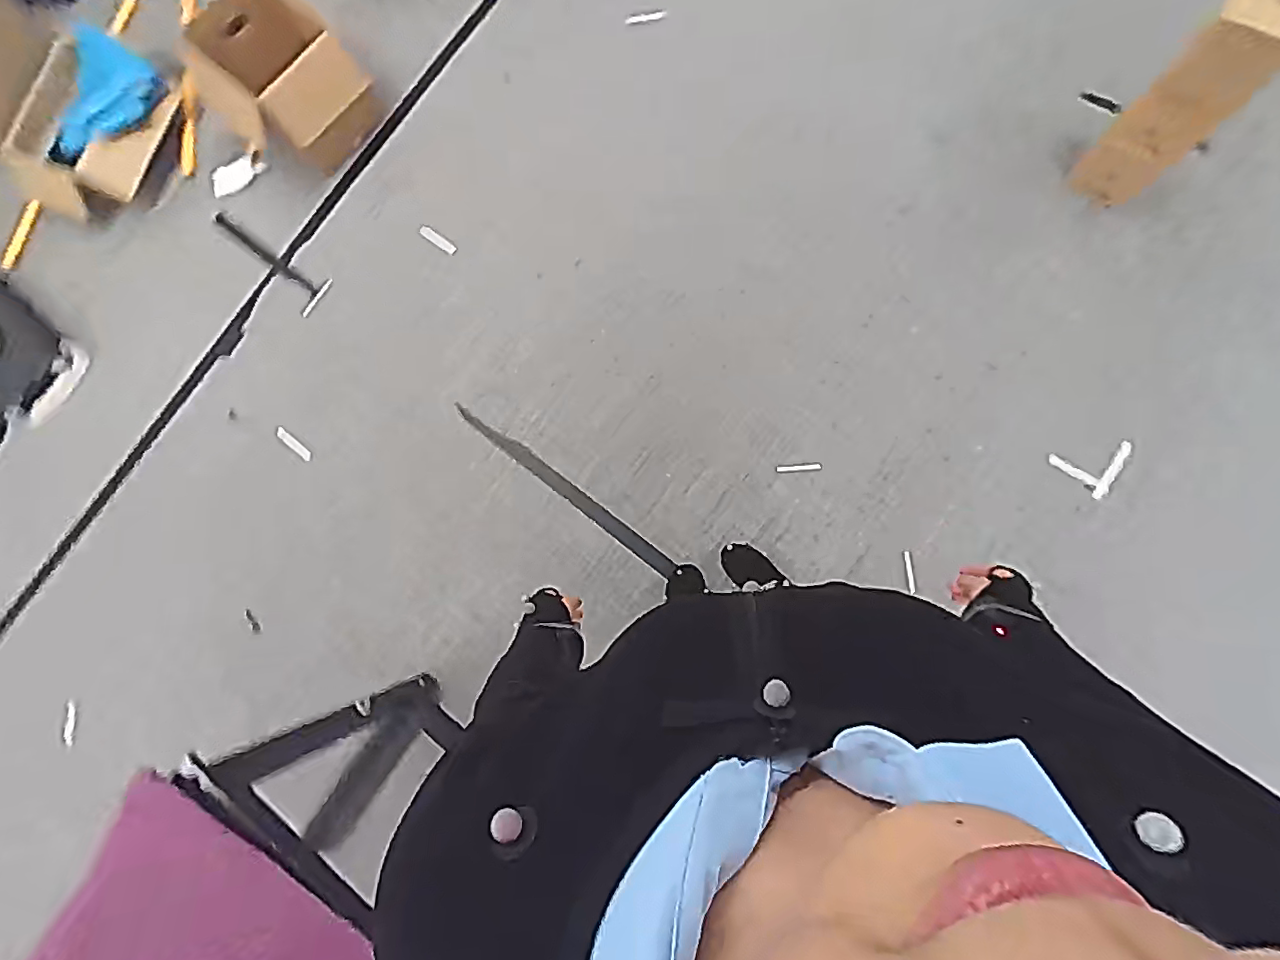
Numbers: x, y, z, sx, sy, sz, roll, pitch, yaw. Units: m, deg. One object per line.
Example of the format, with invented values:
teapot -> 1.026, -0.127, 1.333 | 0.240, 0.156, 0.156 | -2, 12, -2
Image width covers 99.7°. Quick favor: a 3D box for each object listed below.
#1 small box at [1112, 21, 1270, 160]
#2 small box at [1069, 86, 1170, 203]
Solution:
small box -> 1.295, -0.917, 1.287 | 0.168, 0.176, 0.179 | 35, 88, 11
small box -> 1.308, -0.888, 1.447 | 0.168, 0.176, 0.179 | 33, 86, 11
